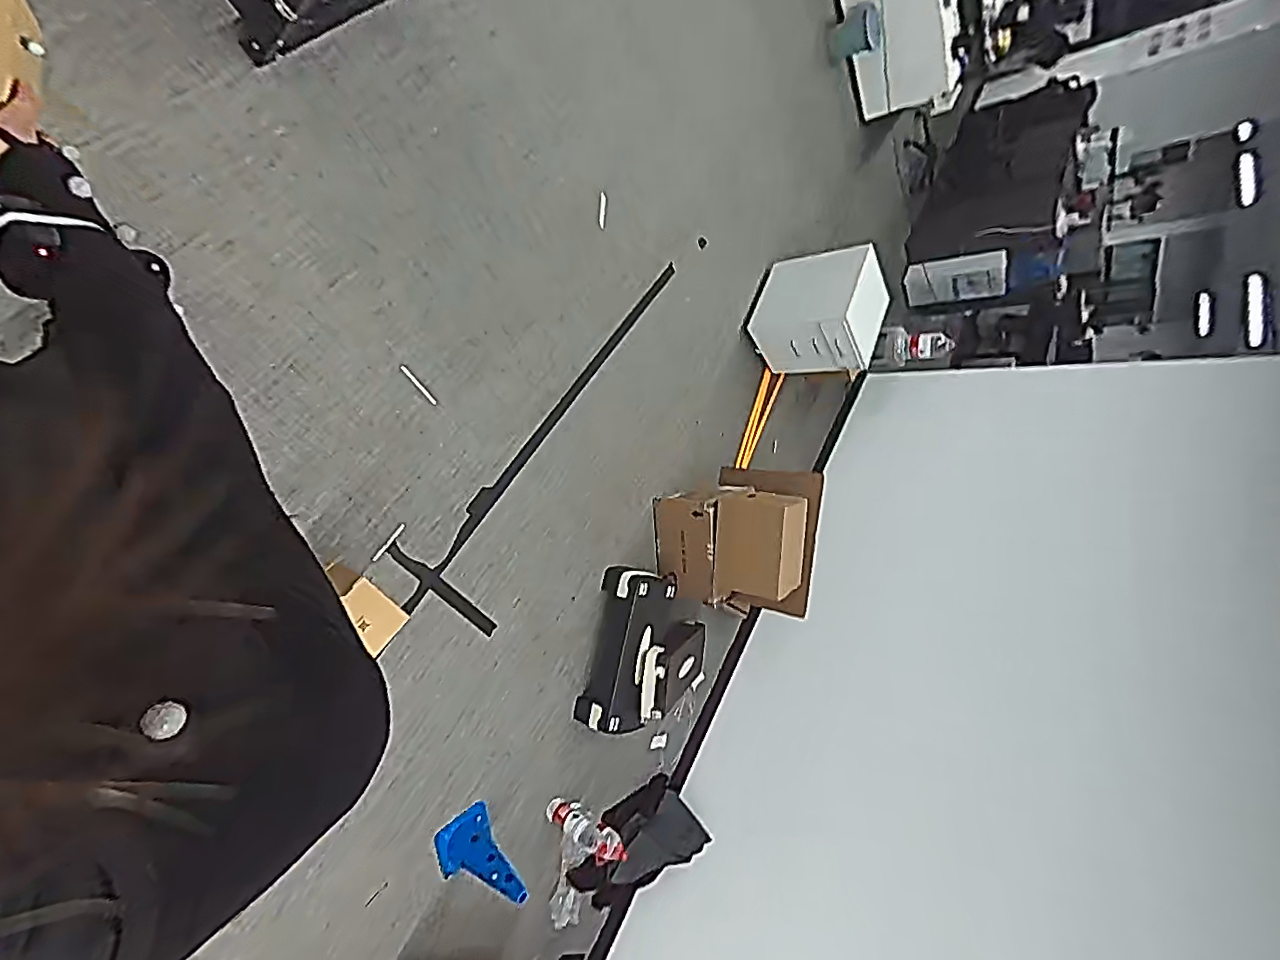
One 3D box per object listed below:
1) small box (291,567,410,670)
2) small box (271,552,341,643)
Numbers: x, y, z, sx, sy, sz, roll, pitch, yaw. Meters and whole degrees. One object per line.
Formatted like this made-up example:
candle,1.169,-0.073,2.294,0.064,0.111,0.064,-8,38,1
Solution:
small box,-0.725,0.339,1.354,0.168,0.176,0.179,-53,129,-29
small box,-0.853,0.319,1.454,0.179,0.176,0.168,-57,132,-26
